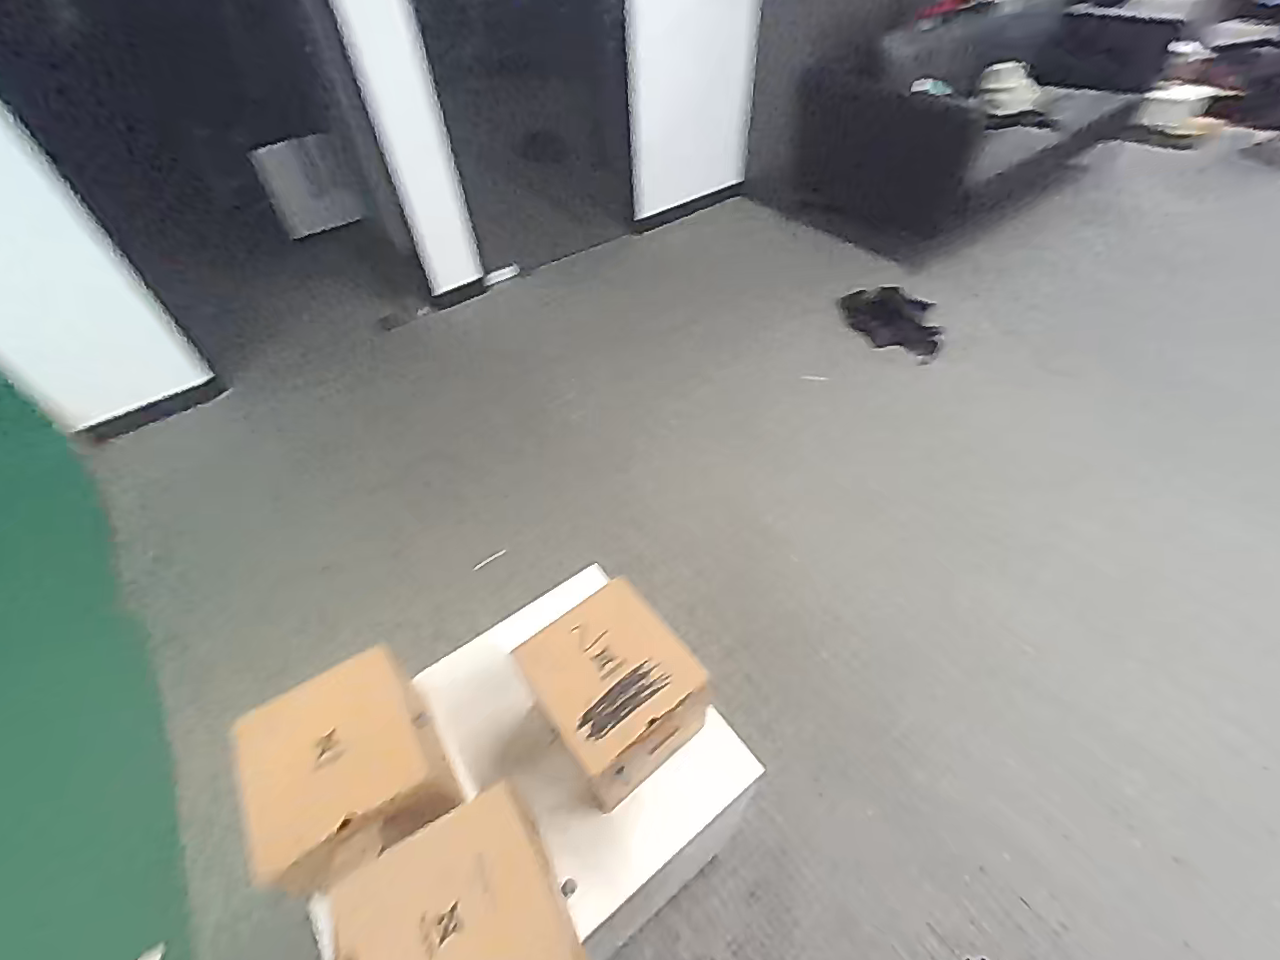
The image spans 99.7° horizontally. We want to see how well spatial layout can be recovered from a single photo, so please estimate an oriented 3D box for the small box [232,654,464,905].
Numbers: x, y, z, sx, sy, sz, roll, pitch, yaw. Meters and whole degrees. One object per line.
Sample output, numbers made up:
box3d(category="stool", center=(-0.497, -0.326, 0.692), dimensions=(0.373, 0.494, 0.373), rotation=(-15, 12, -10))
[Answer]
box3d(category="small box", center=(-0.327, 0.345, 0.625), dimensions=(0.168, 0.176, 0.179), rotation=(-27, 53, -22))
